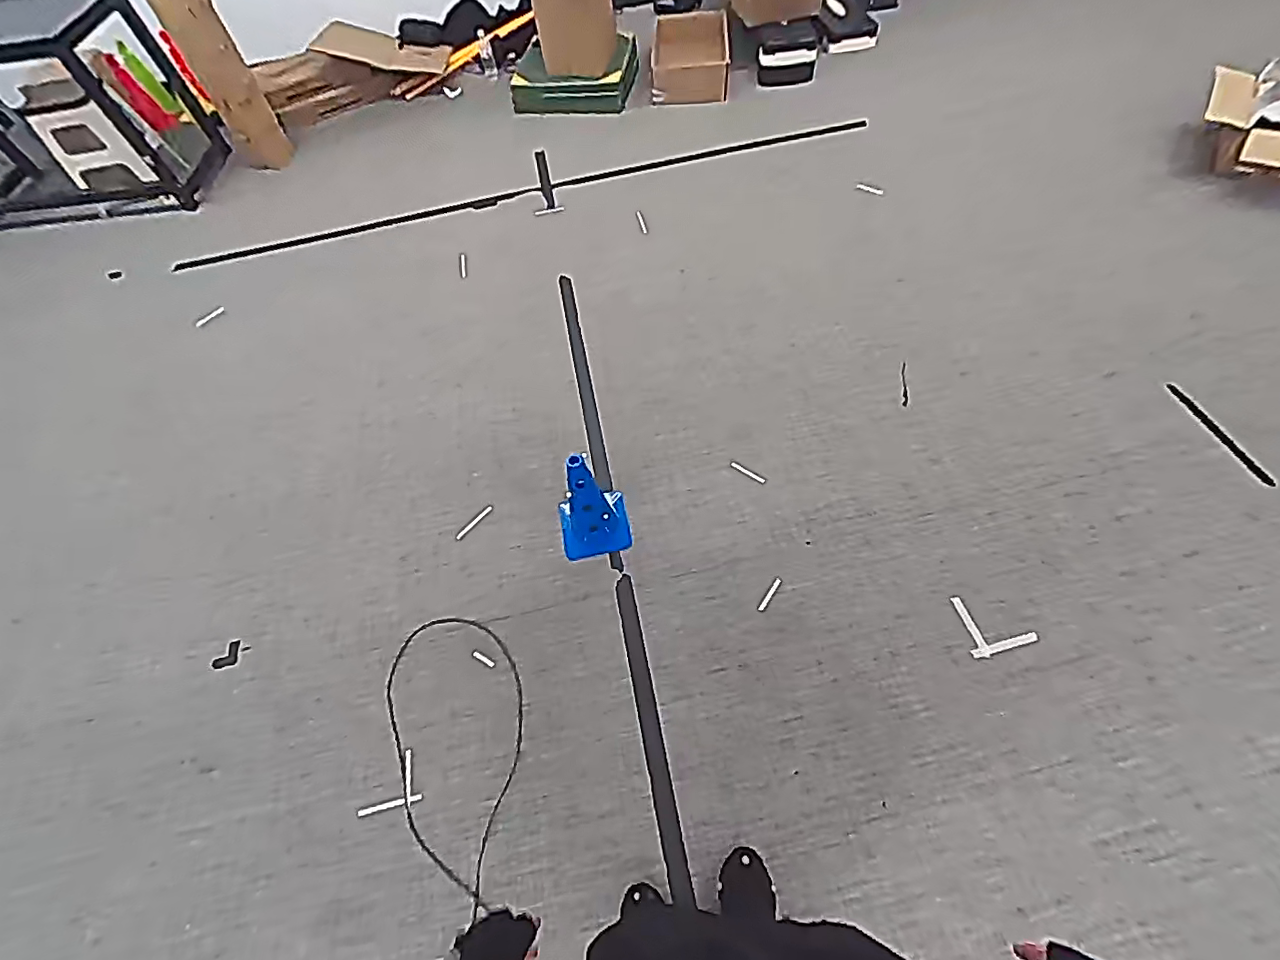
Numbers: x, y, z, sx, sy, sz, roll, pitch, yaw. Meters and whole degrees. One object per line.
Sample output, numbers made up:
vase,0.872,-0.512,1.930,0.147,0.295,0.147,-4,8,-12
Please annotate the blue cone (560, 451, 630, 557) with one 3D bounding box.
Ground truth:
blue cone,-0.149,0.046,1.463,0.193,0.380,0.192,-14,59,-2
